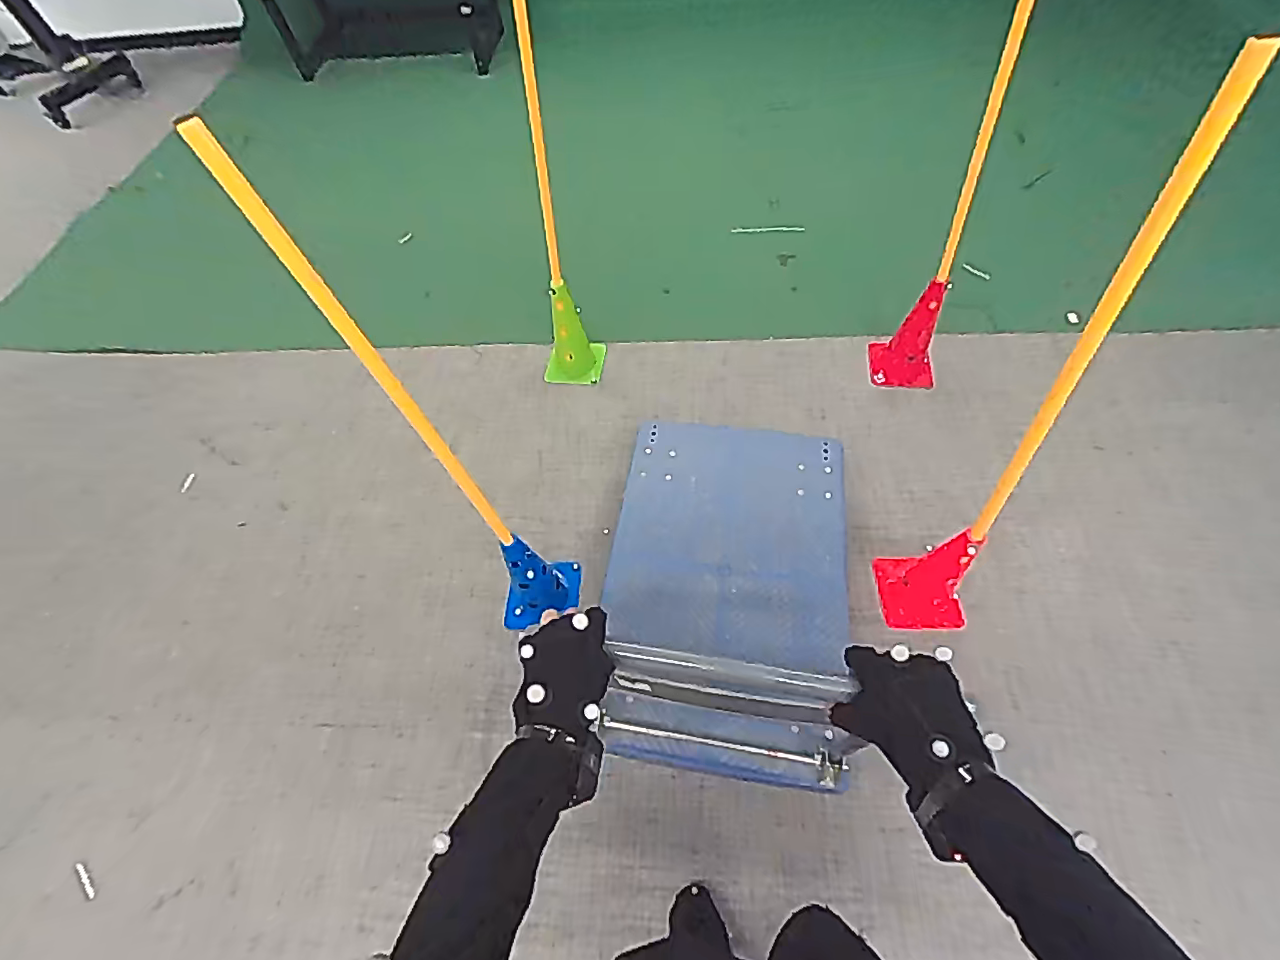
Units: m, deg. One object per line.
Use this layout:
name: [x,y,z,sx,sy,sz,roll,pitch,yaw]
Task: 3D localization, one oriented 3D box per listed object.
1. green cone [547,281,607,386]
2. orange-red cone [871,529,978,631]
green cone: [-0.244,-0.514,1.835,0.202,0.368,0.200,4,58,8]
orange-red cone: [0.721,0.216,1.308,0.199,0.360,0.198,-1,57,6]
